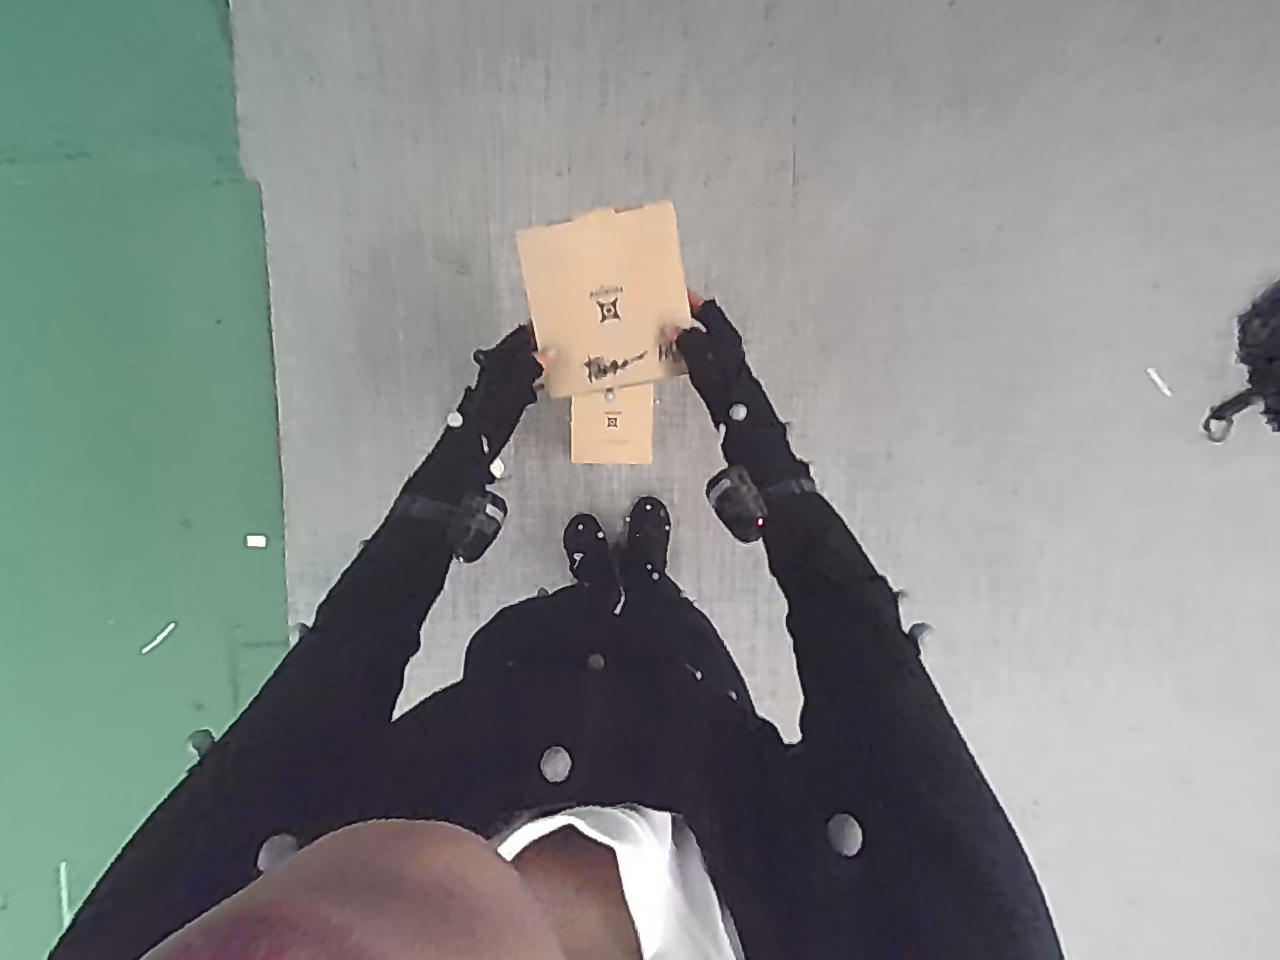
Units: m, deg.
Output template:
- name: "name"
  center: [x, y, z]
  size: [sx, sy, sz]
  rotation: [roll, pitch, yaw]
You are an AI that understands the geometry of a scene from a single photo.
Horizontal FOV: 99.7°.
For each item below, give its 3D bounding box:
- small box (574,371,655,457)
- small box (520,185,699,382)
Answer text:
- name: "small box"
  center: [-0.053, -0.139, 1.169]
  size: [0.168, 0.176, 0.179]
  rotation: [0, 95, 1]
- name: "small box"
  center: [-0.028, -0.213, 0.635]
  size: [0.168, 0.176, 0.179]
  rotation: [-9, 100, 3]
